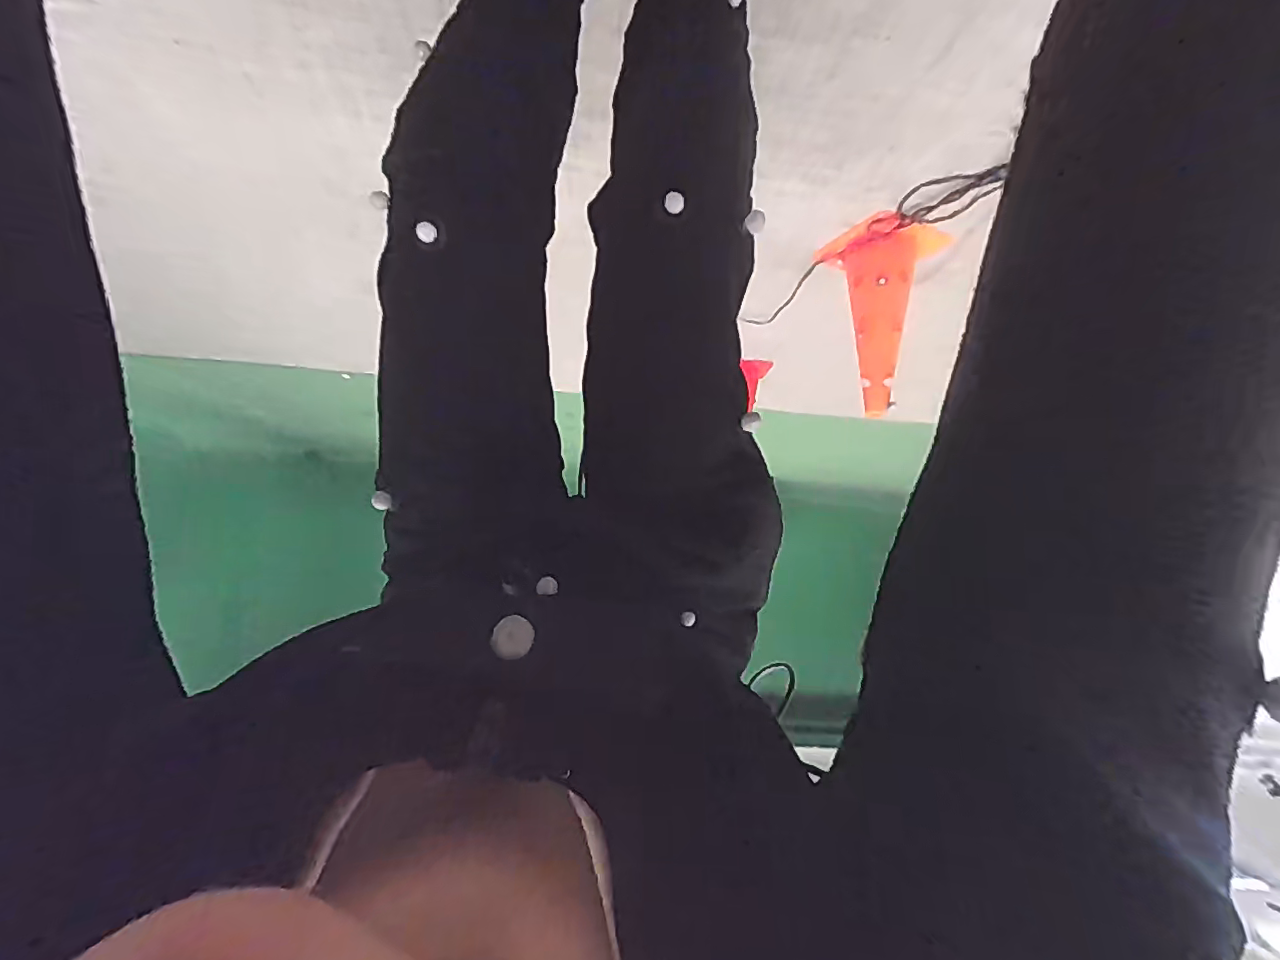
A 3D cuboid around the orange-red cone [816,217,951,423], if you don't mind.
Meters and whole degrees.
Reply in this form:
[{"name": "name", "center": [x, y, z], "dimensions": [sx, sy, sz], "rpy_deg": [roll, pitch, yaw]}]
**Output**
[{"name": "orange-red cone", "center": [0.478, -0.293, 1.078], "dimensions": [0.199, 0.360, 0.198], "rpy_deg": [6, 174, -24]}]
